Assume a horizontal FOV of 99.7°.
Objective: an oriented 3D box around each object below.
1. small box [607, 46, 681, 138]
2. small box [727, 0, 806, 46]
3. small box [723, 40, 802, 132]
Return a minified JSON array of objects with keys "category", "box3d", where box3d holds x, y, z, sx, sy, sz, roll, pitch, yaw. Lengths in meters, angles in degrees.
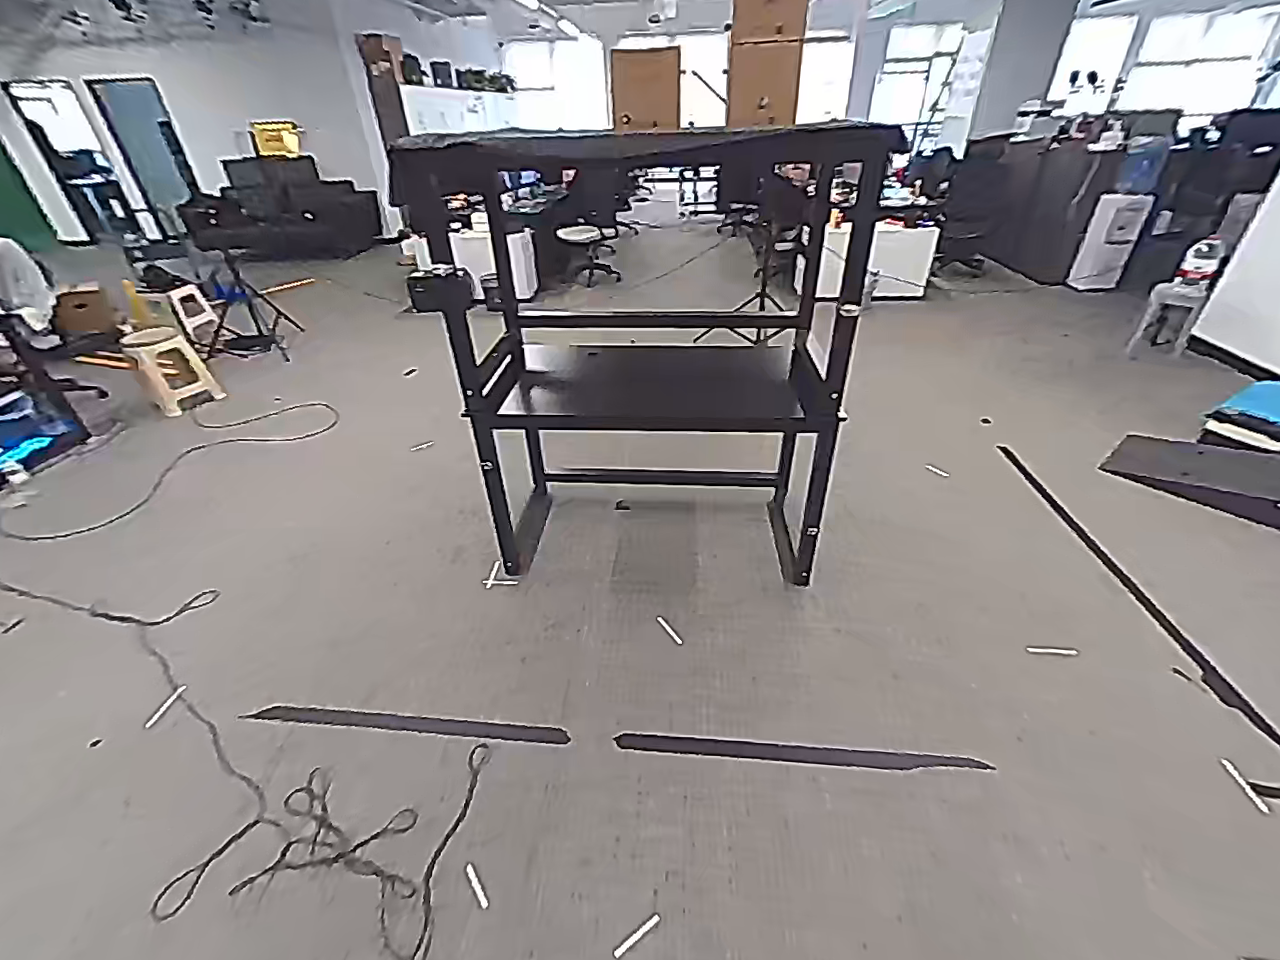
[{"category":"small box","box3d":[0.016,-0.952,1.336,0.168,0.176,0.179,1,32,5]},{"category":"small box","box3d":[0.286,-1.085,1.223,0.168,0.176,0.179,2,34,6]},{"category":"small box","box3d":[0.290,-0.947,1.313,0.168,0.176,0.179,1,34,6]}]
